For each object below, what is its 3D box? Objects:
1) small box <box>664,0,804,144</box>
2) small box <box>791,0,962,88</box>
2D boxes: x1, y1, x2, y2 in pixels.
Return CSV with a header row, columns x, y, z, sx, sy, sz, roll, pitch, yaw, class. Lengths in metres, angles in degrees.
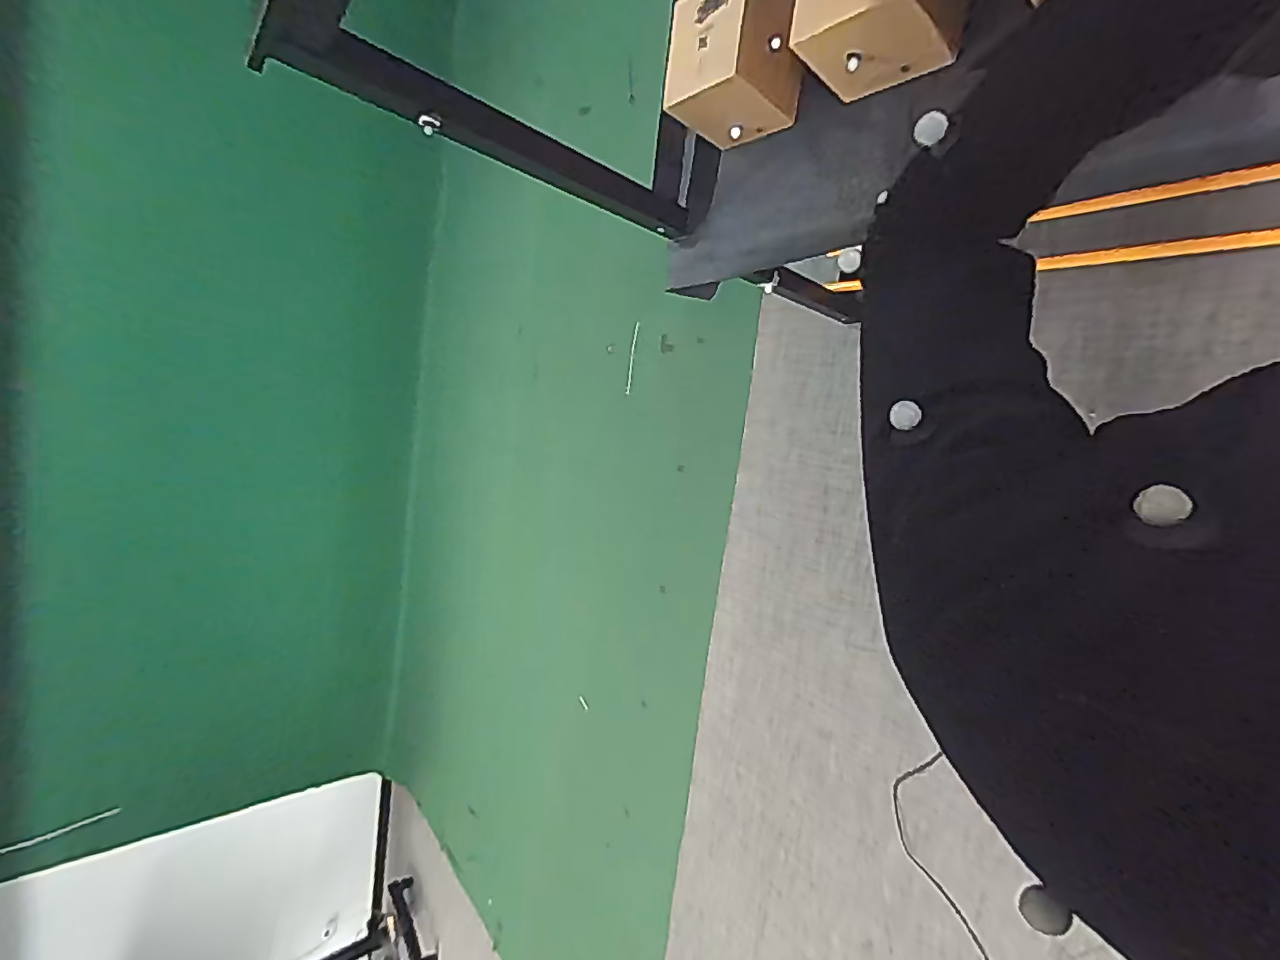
x,y,z,sx,sy,sz,roll,pitch,yaw,class
0.166,-0.723,0.929,0.168,0.176,0.179,14,100,48,small box
0.335,-0.684,0.744,0.168,0.176,0.179,14,99,47,small box
